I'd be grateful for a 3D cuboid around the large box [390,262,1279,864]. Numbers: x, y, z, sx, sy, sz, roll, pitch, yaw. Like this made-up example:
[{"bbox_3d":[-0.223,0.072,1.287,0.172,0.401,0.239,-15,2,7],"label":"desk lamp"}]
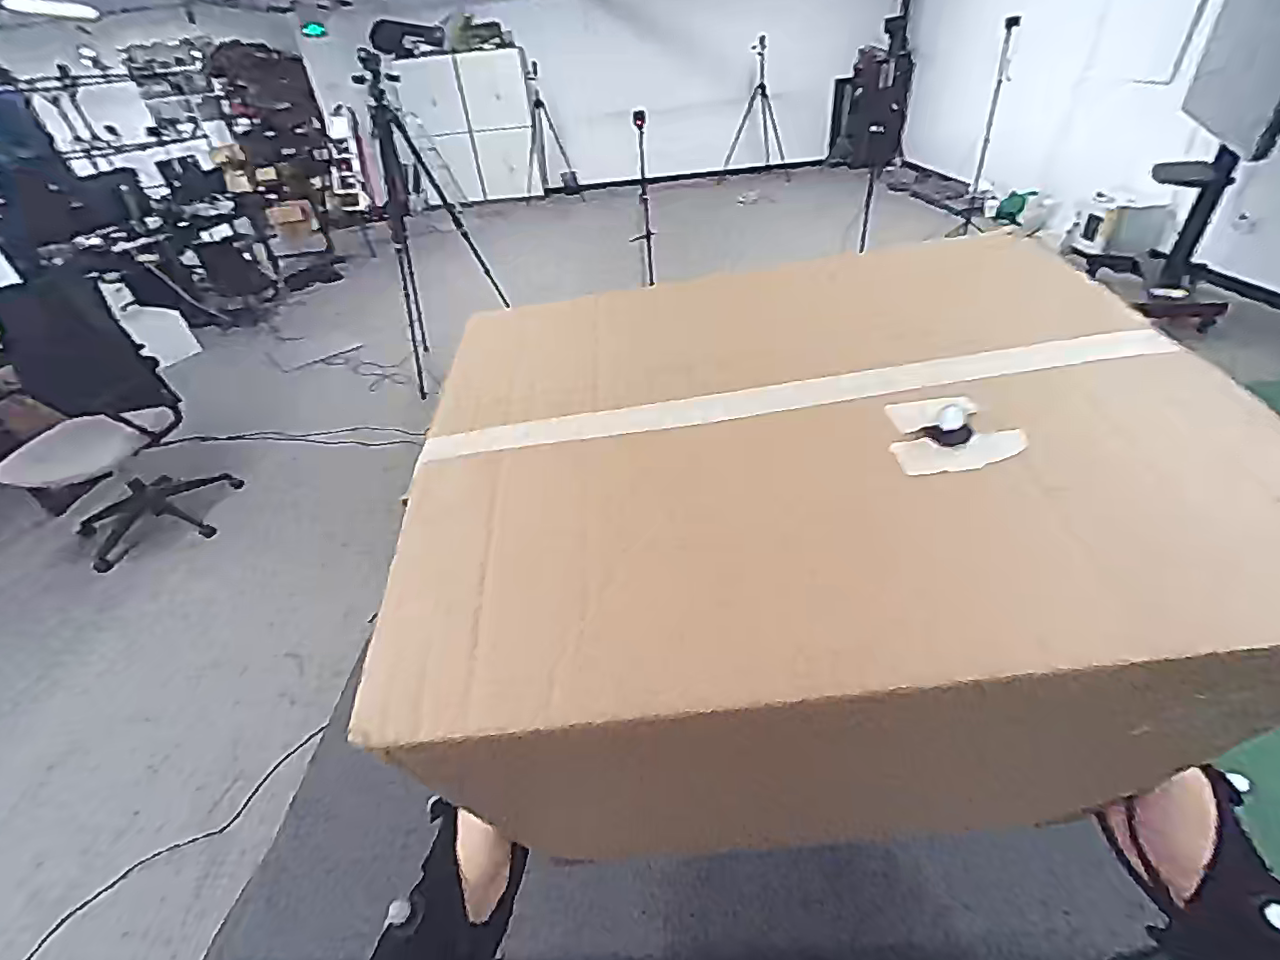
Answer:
[{"bbox_3d":[0.096,0.072,0.425,0.408,0.320,0.320,-8,47,3],"label":"large box"}]
